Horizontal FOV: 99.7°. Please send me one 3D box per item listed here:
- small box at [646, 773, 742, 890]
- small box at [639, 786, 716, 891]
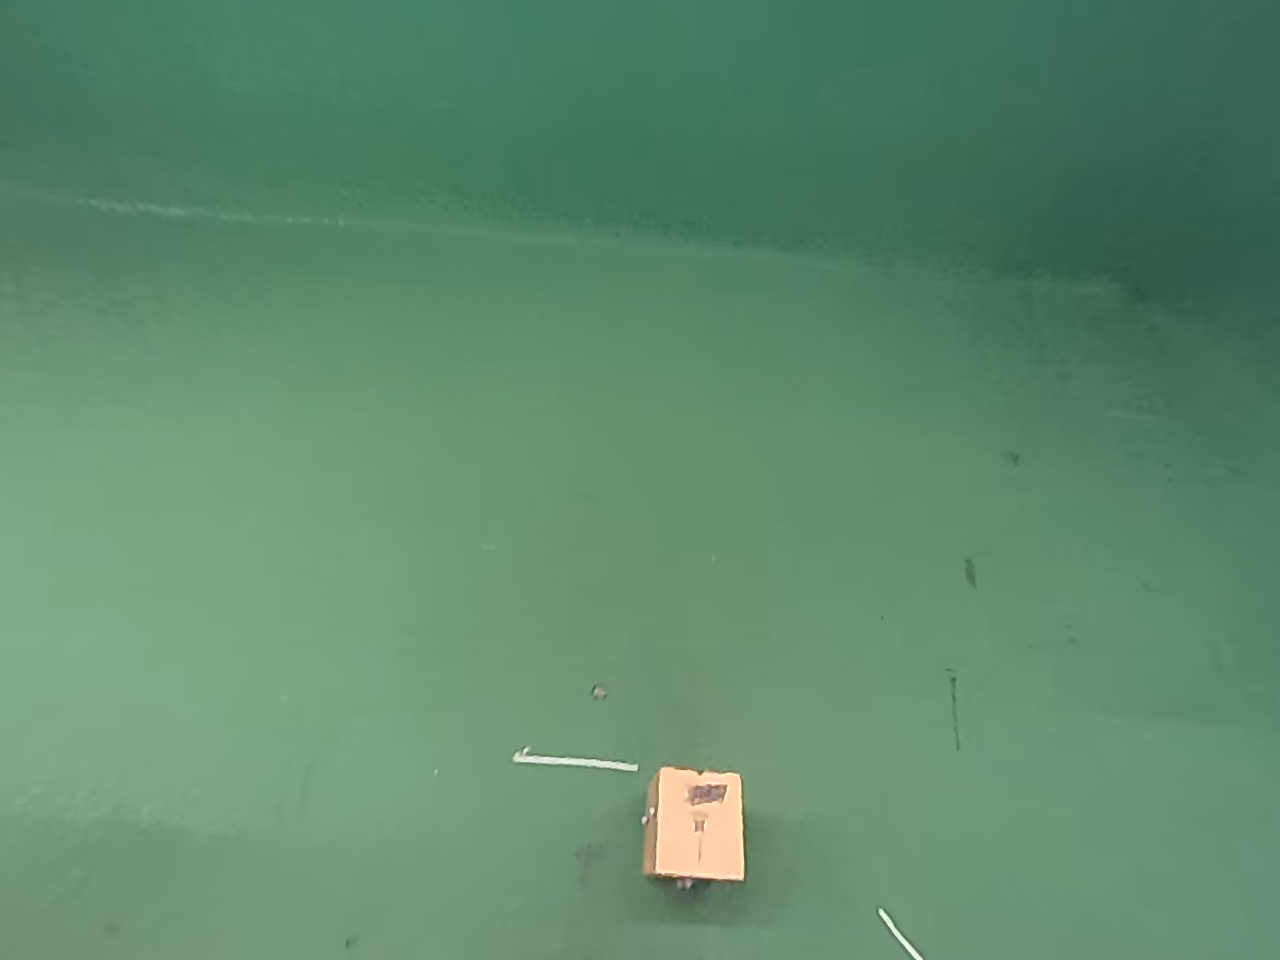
[{"bbox_3d":[0.103,0.709,1.088,0.168,0.176,0.179,6,53,-1],"label":"small box"},{"bbox_3d":[0.089,0.808,1.218,0.168,0.176,0.179,6,53,-1],"label":"small box"}]
